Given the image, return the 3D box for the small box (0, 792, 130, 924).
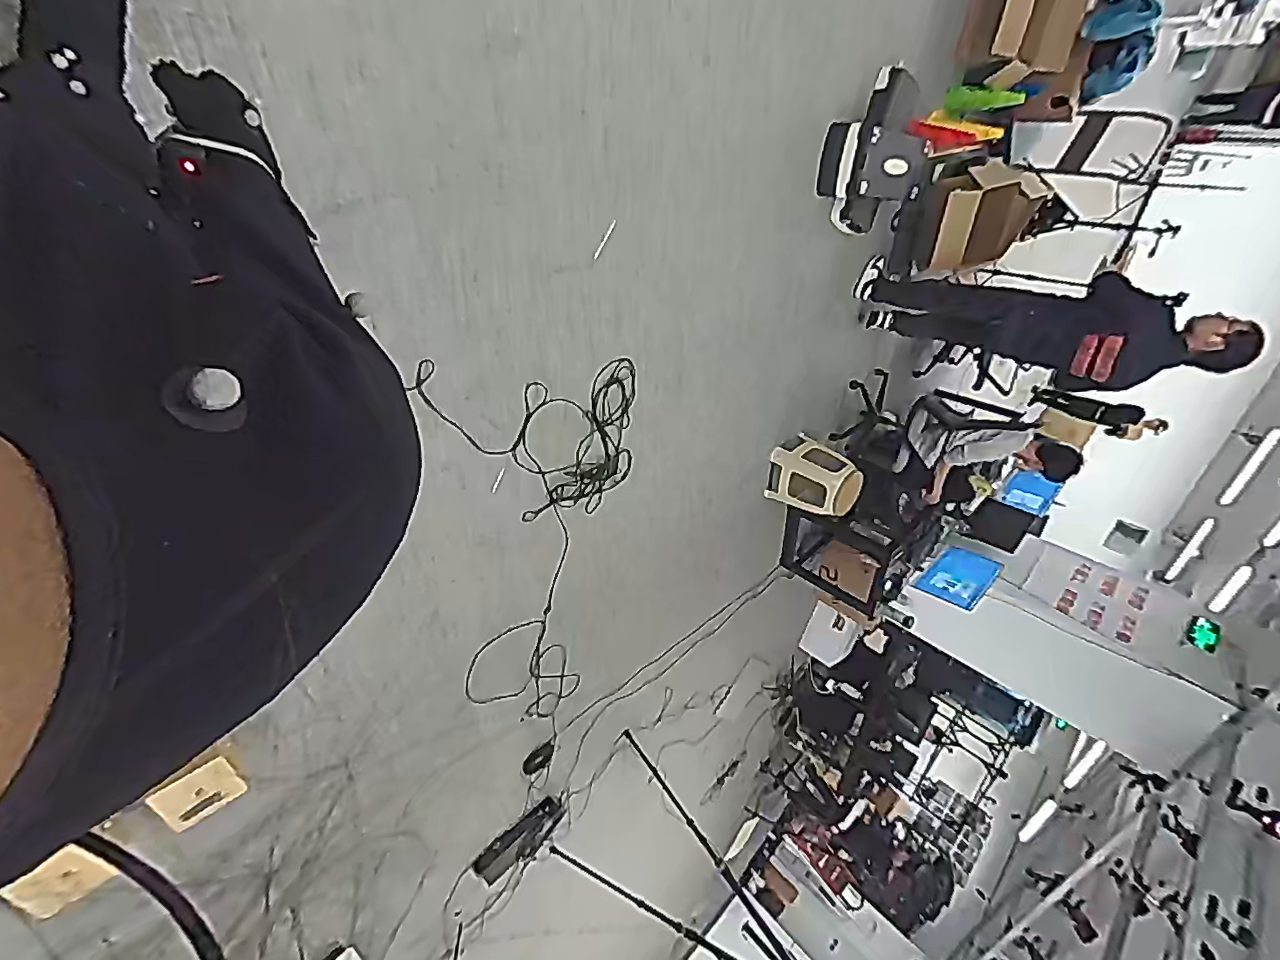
[{"bbox_3d":[-1.382,0.896,1.300,0.168,0.176,0.179,-28,132,-34],"label":"small box"}]
